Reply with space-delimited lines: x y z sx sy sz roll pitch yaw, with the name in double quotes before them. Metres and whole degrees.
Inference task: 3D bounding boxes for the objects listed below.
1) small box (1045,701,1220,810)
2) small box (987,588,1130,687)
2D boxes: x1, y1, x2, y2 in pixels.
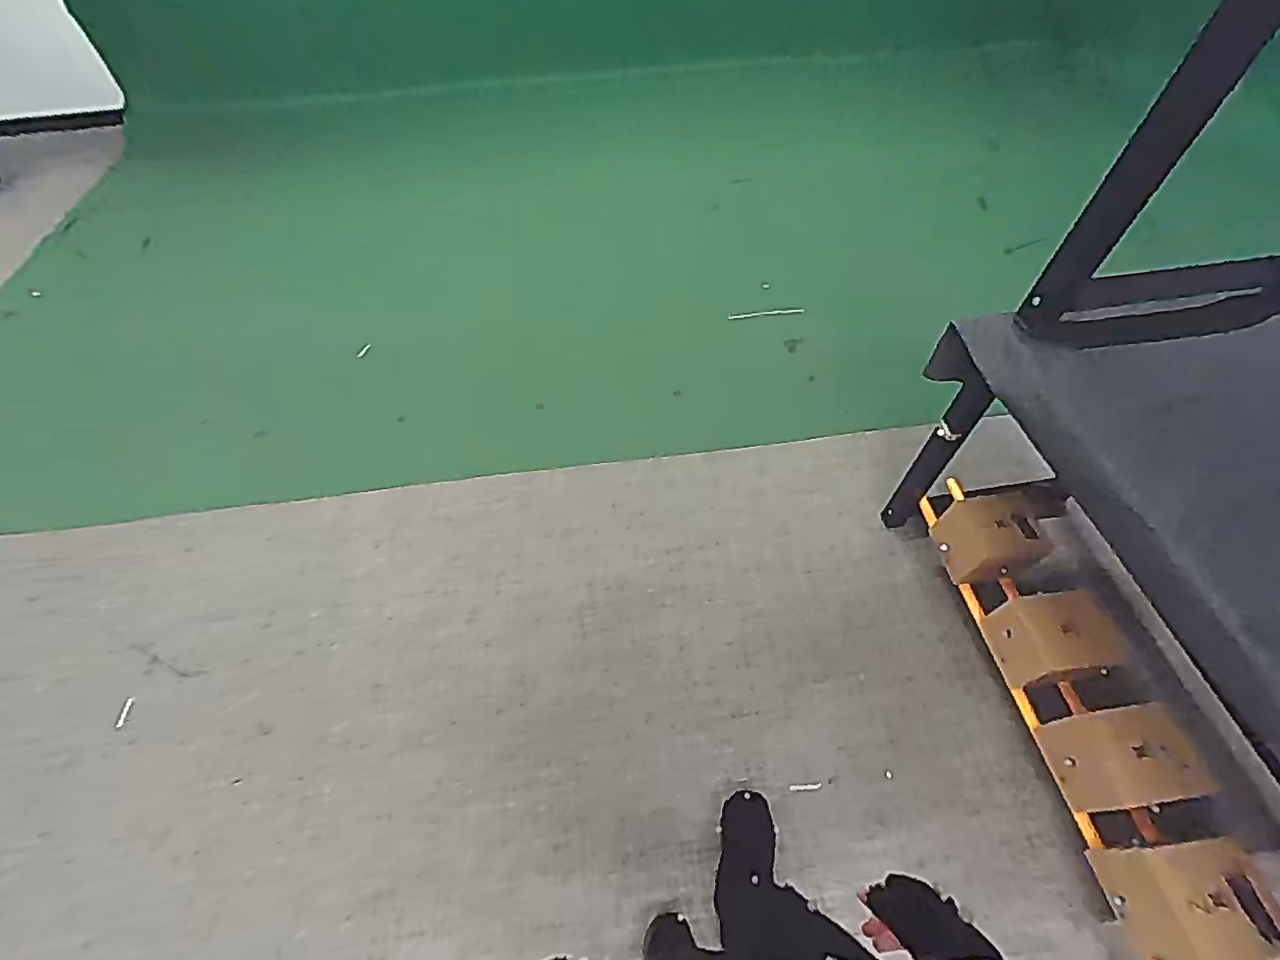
"small box" 0.975 0.564 1.099 0.179 0.176 0.168 -8 57 -2
"small box" 0.937 0.365 1.239 0.179 0.176 0.168 -7 56 -1
